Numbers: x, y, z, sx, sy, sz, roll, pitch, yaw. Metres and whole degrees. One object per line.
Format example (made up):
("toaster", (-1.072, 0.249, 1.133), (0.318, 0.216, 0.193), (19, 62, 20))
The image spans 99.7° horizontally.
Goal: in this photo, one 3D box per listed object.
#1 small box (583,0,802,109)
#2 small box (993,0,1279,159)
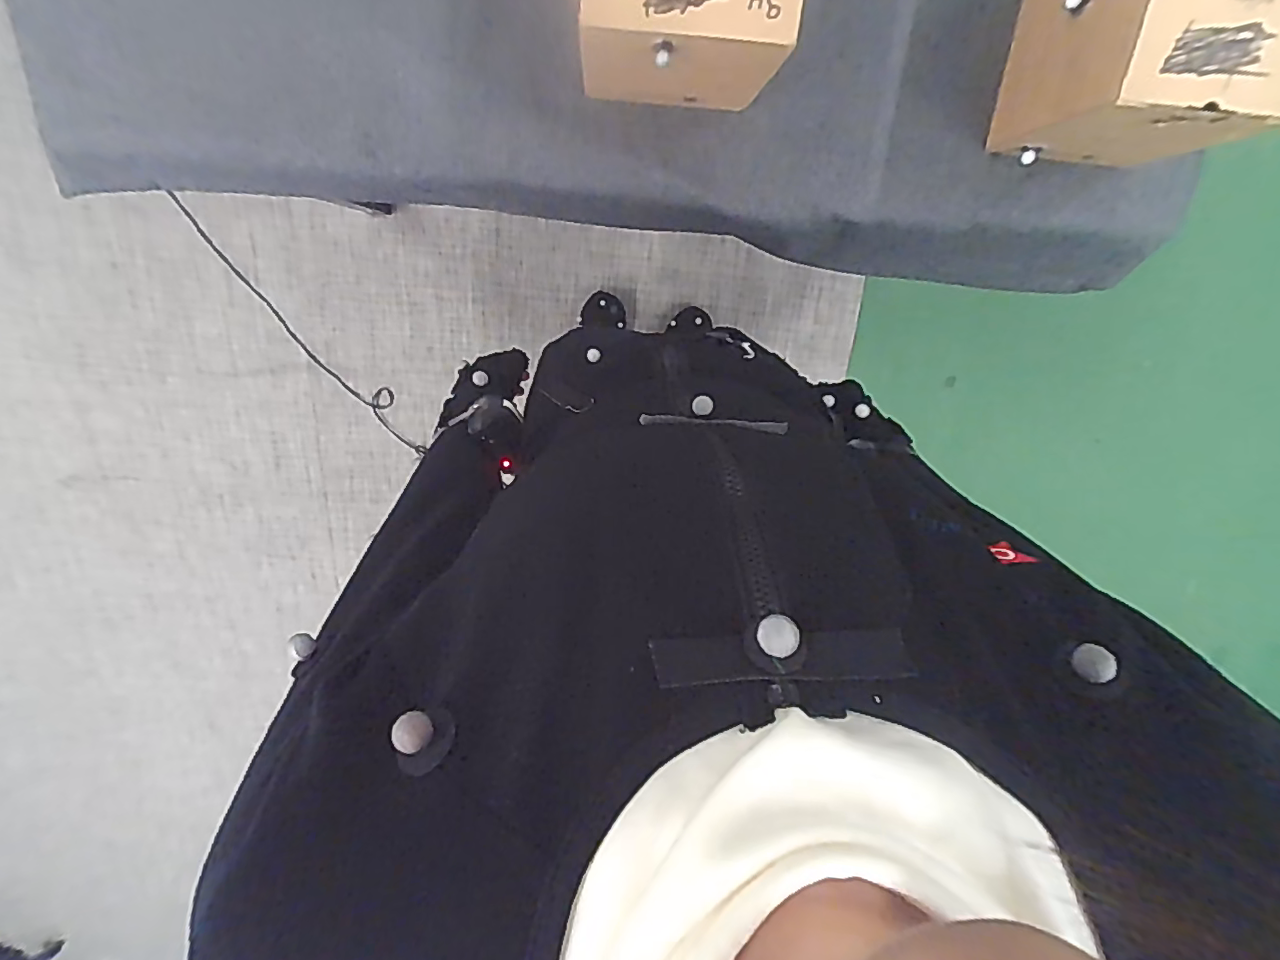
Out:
("small box", (0.038, -0.444, 0.450), (0.168, 0.176, 0.179), (2, 109, -4))
("small box", (0.463, -0.408, 0.487), (0.168, 0.176, 0.179), (4, 108, -4))
